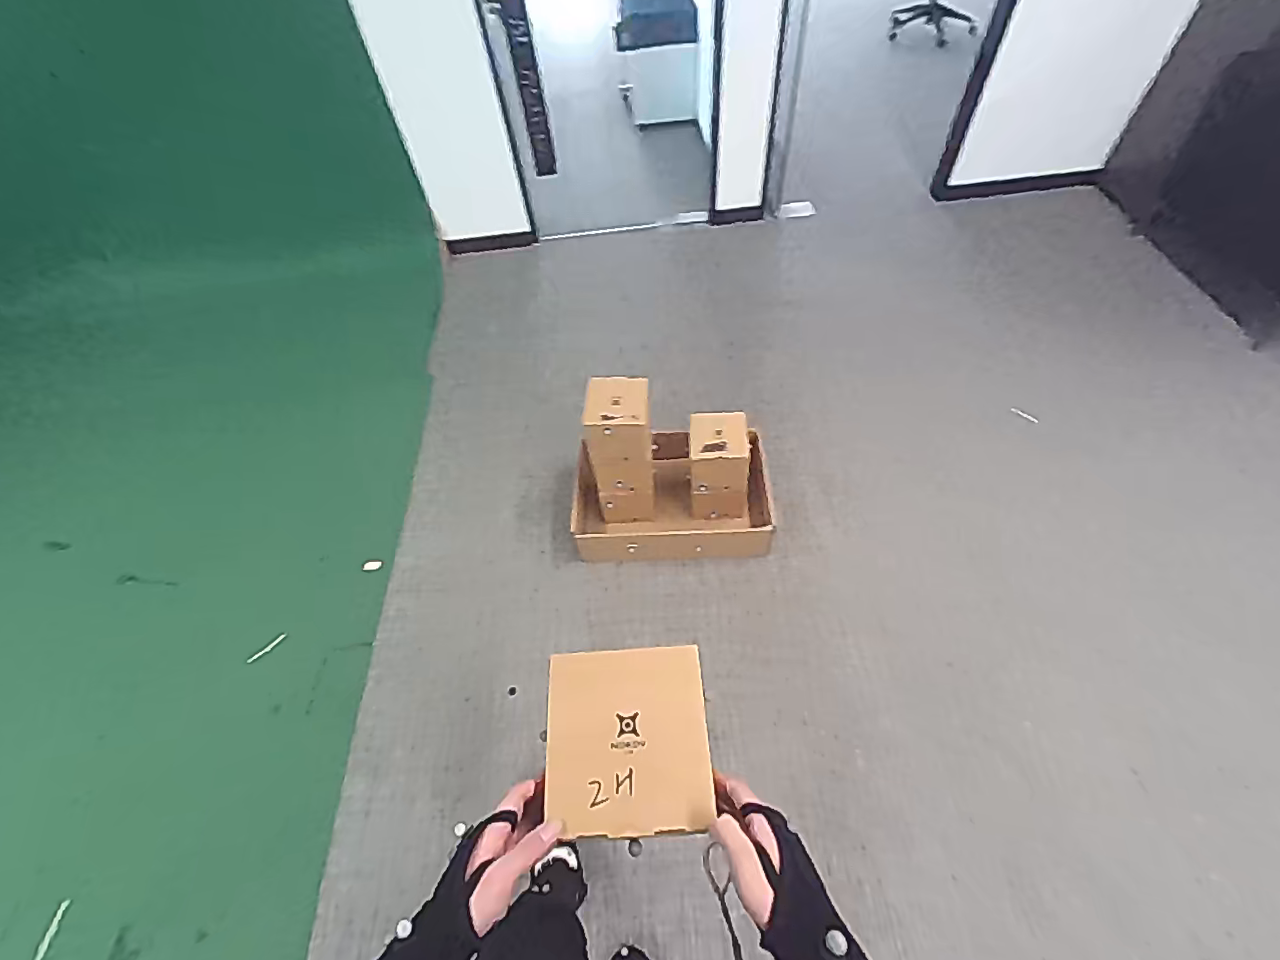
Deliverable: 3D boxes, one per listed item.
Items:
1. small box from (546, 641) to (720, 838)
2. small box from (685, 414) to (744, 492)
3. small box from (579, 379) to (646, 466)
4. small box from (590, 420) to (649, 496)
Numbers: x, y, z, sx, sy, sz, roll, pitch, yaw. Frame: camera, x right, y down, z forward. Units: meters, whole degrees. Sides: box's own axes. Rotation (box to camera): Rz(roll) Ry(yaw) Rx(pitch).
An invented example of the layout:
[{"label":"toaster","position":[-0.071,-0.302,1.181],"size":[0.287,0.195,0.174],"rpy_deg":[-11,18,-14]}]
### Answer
[{"label":"small box","position":[-0.007,0.297,0.613],"size":[0.168,0.176,0.179],"rpy_deg":[-3,56,1]},{"label":"small box","position":[0.222,-0.076,1.623],"size":[0.168,0.176,0.179],"rpy_deg":[-1,53,6]},{"label":"small box","position":[-0.069,-0.159,1.504],"size":[0.168,0.176,0.179],"rpy_deg":[1,53,4]},{"label":"small box","position":[-0.060,-0.070,1.642],"size":[0.168,0.176,0.179],"rpy_deg":[-1,54,2]}]
